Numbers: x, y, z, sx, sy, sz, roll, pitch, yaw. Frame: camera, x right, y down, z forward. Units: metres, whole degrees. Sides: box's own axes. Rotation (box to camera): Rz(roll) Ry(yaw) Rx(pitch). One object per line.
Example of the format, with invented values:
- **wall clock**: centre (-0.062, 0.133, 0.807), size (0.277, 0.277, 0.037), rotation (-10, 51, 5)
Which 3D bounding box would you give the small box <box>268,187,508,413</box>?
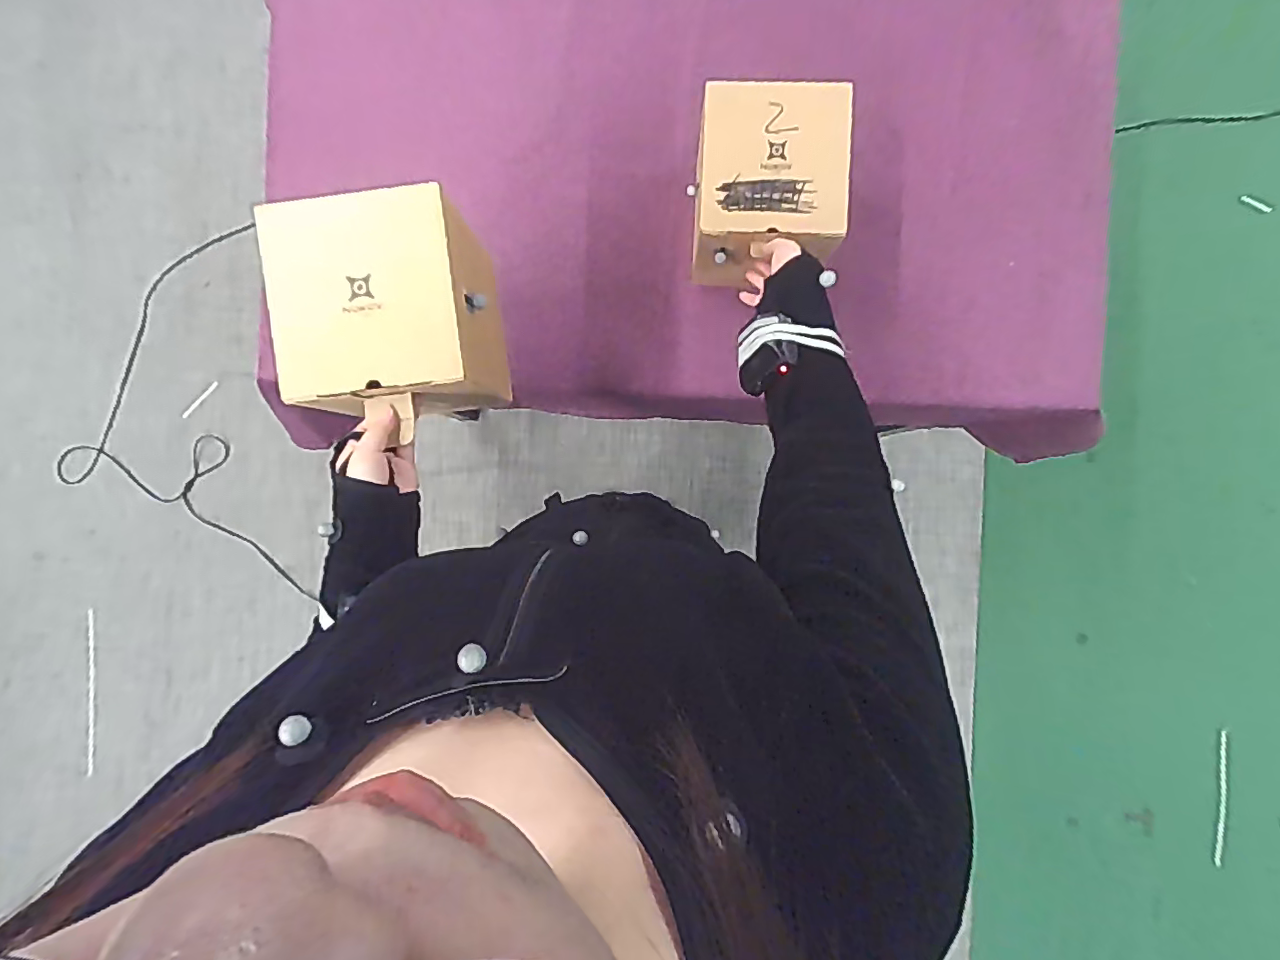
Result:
- **small box**: centre (-0.246, -0.173, 0.569), size (0.168, 0.176, 0.179), rotation (-7, 92, 1)
